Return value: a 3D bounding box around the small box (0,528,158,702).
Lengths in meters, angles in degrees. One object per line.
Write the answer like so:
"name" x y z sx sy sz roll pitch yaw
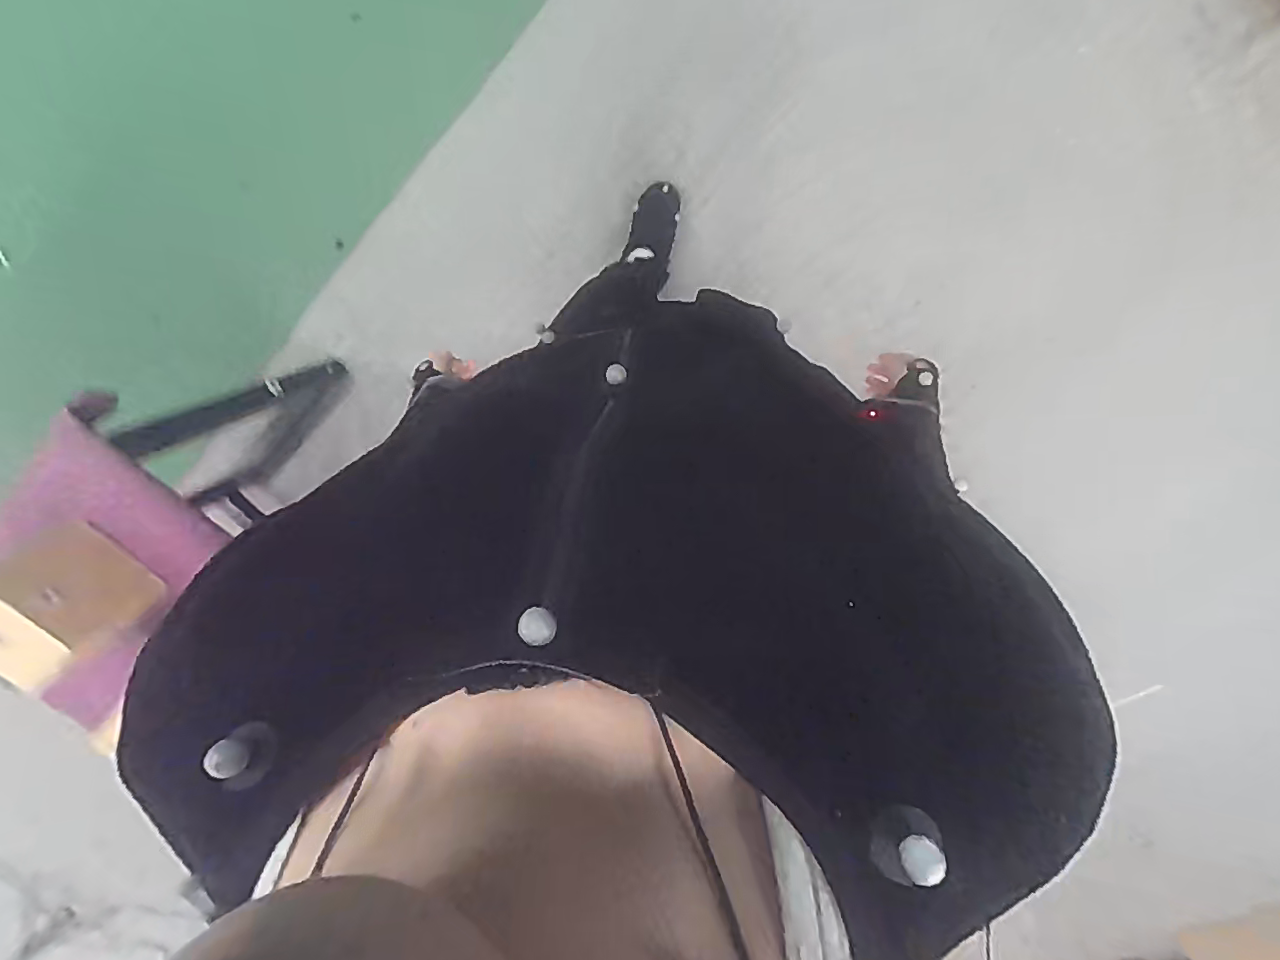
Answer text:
"small box" -0.946 0.210 0.867 0.168 0.176 0.179 -36 106 20

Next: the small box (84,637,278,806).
"small box" -0.784 0.415 0.942 0.168 0.176 0.179 43 110 -13
